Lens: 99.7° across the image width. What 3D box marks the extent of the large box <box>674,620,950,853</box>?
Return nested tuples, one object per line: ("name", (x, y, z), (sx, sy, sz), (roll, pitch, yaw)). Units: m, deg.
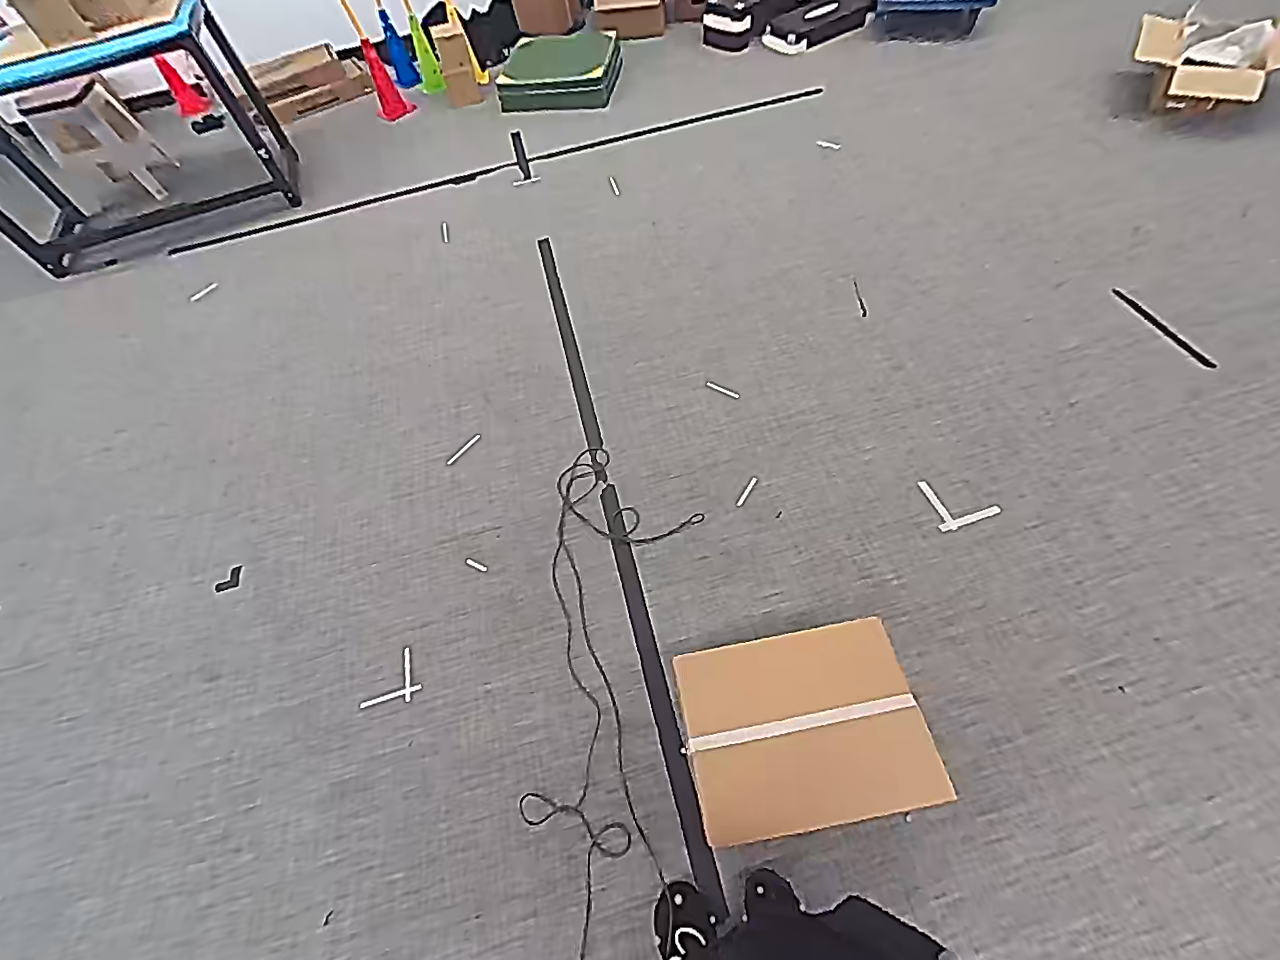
("large box", (0.299, 0.512, 1.073), (0.408, 0.320, 0.320), (-11, 55, -1))
